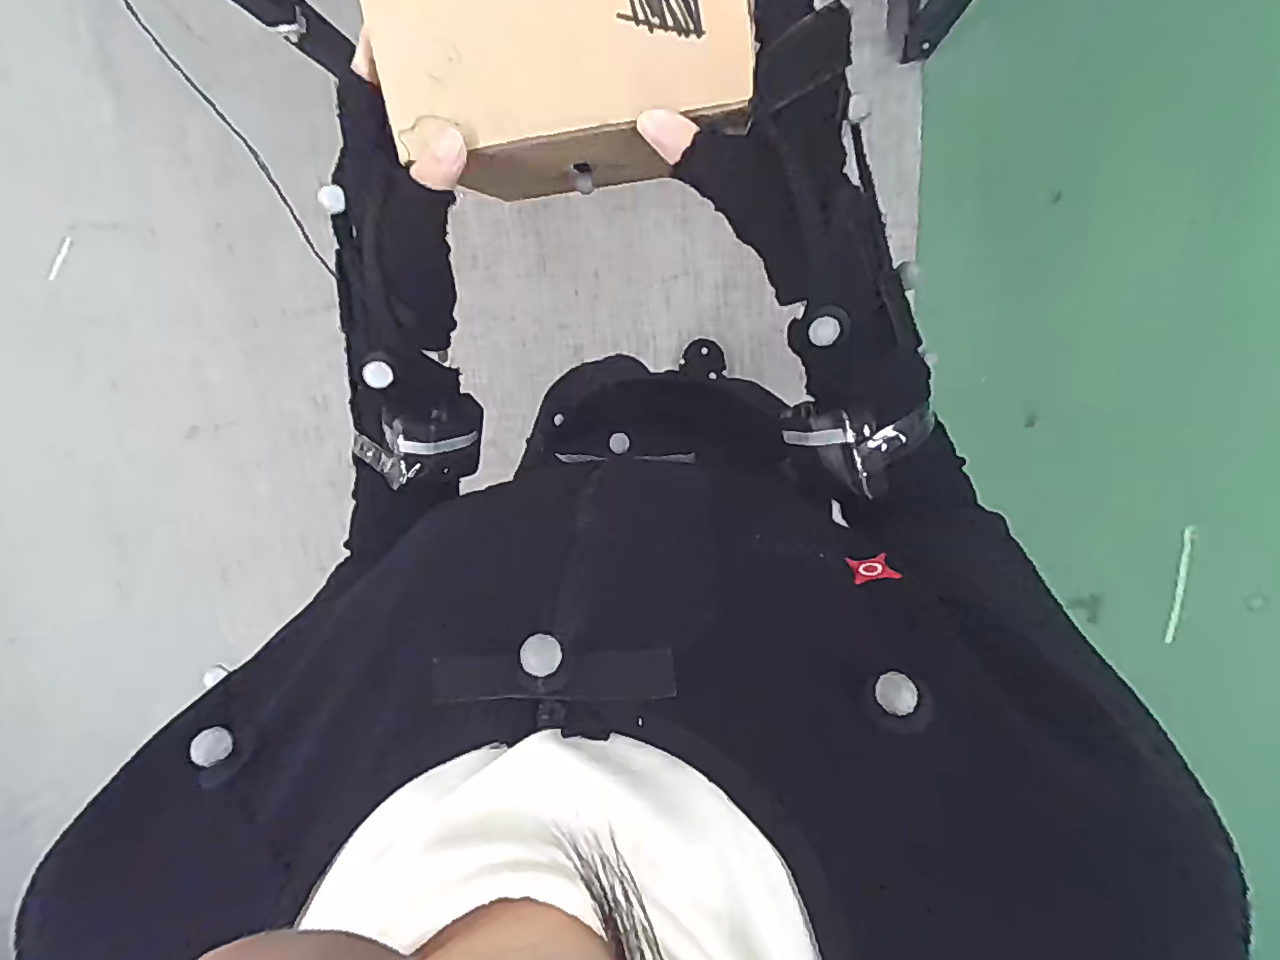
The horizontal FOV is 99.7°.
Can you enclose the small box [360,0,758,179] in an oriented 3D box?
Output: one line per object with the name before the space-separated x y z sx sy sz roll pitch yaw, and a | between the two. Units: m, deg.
small box | -0.037 -0.277 0.295 0.179 0.176 0.168 -5 111 8
